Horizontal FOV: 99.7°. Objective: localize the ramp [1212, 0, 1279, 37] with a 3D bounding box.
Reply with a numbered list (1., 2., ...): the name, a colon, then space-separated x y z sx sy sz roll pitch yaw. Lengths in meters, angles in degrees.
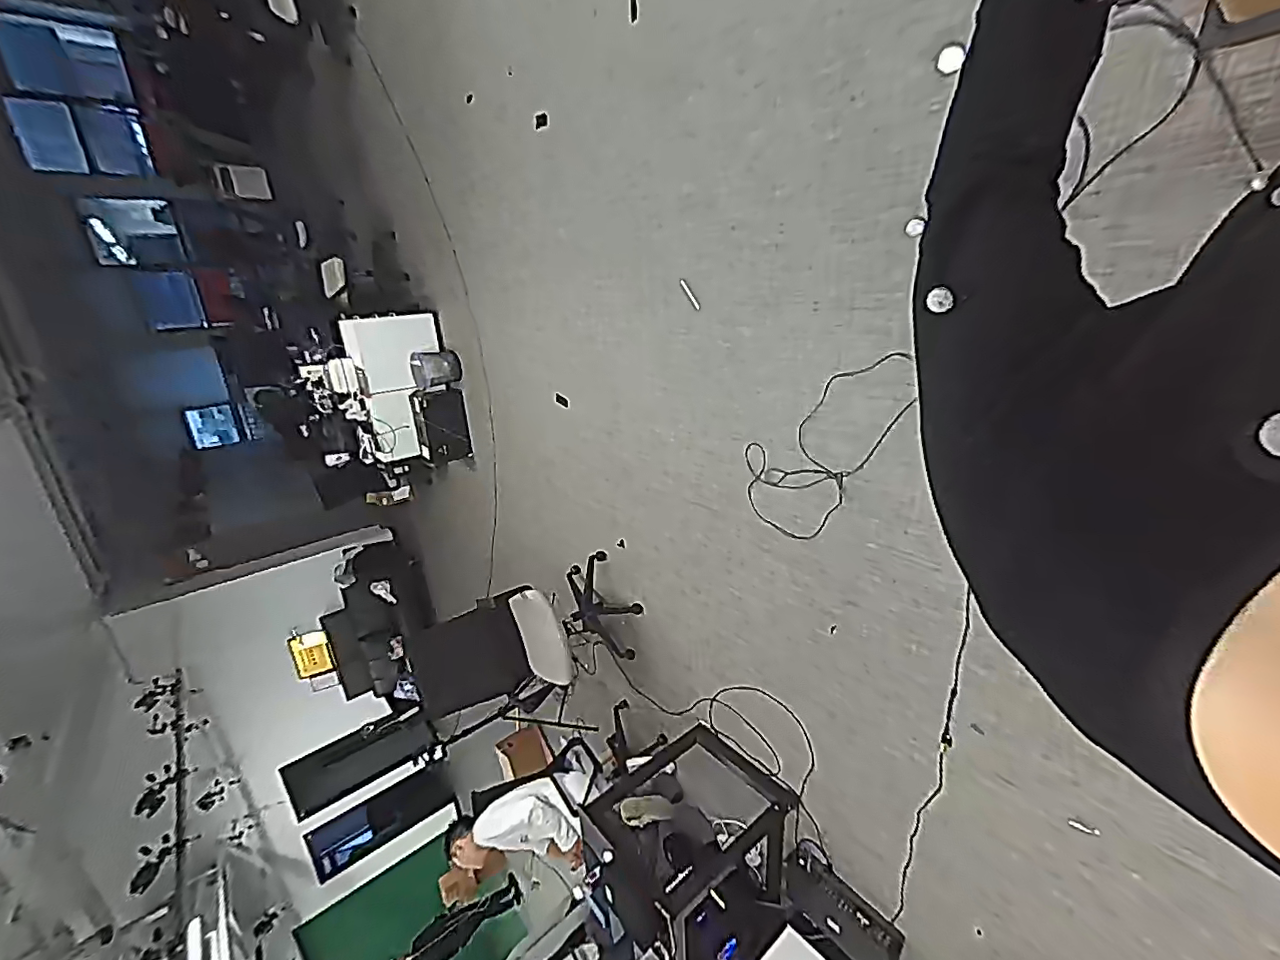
1. ramp: 1.043 -1.147 0.543 0.509 0.206 0.991 17 118 48
